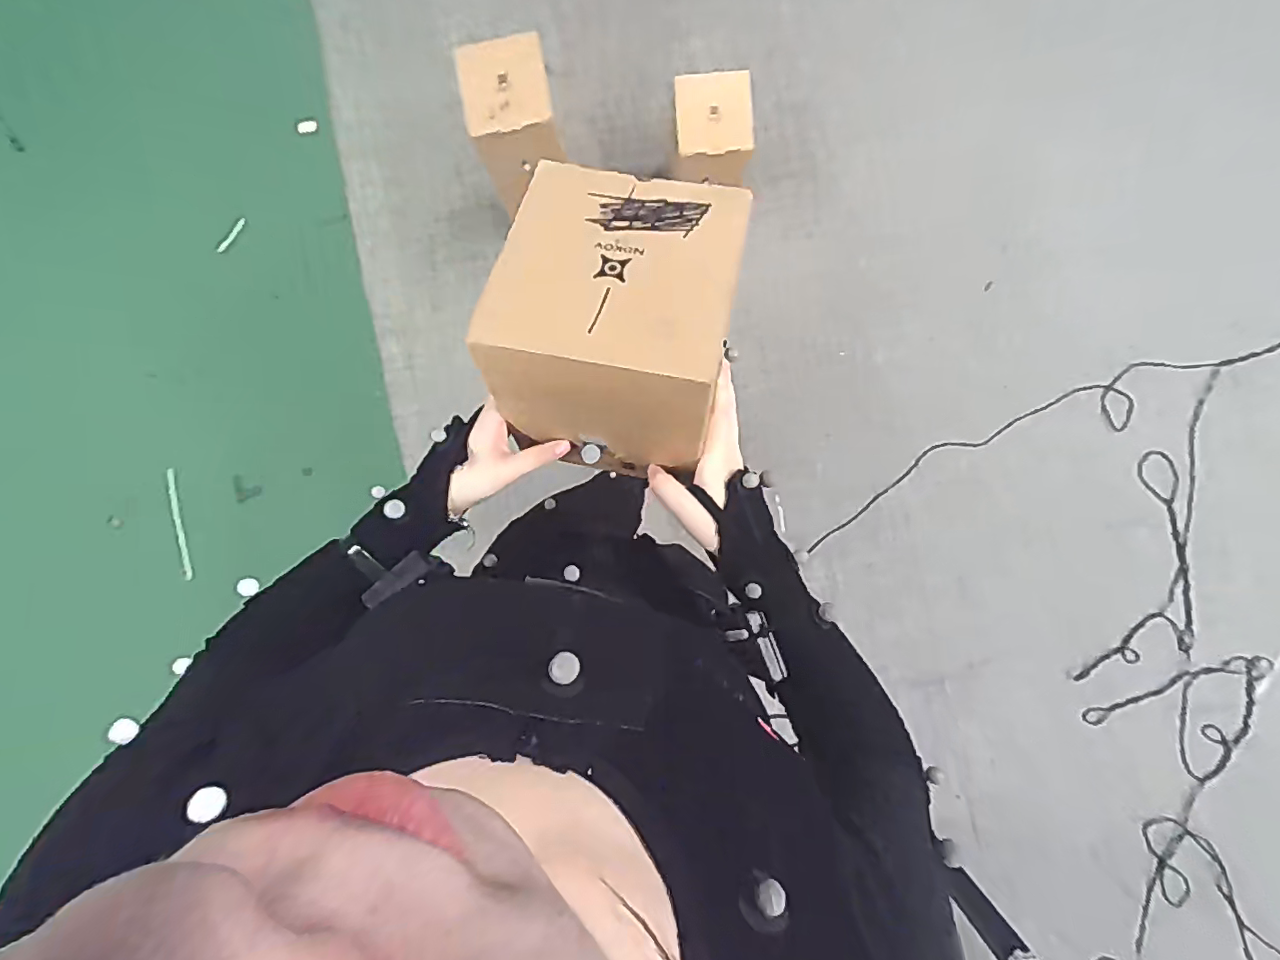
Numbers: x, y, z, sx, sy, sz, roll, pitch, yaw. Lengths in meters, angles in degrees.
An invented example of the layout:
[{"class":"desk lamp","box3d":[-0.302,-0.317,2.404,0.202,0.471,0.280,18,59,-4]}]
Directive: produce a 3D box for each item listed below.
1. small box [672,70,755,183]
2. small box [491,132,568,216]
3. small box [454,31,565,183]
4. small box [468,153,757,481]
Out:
[{"class":"small box","box3d":[0.163,-0.794,1.247,0.168,0.176,0.179,-4,90,1]},{"class":"small box","box3d":[-0.252,-0.742,1.254,0.168,0.176,0.179,-11,91,2]},{"class":"small box","box3d":[-0.253,-0.740,1.089,0.168,0.176,0.179,-11,89,2]},{"class":"small box","box3d":[-0.012,-0.123,0.442,0.168,0.176,0.179,12,68,7]}]
